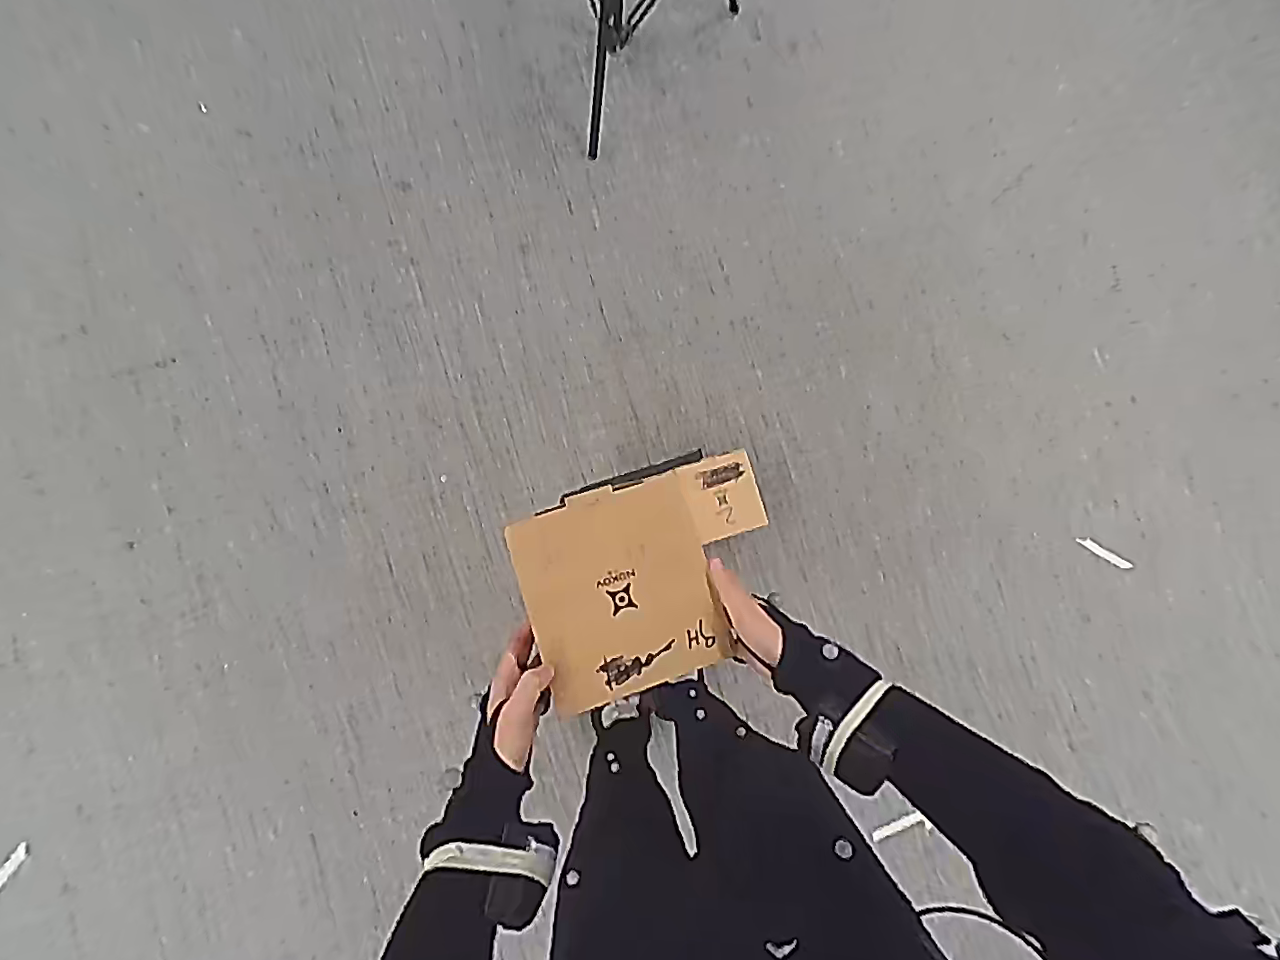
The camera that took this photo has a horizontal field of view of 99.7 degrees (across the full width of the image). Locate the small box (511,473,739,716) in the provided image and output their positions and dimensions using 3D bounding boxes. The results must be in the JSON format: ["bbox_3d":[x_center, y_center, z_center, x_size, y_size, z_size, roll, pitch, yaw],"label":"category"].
[{"bbox_3d":[-0.022,0.112,0.555,0.168,0.176,0.179,-18,81,-8],"label":"small box"}]
